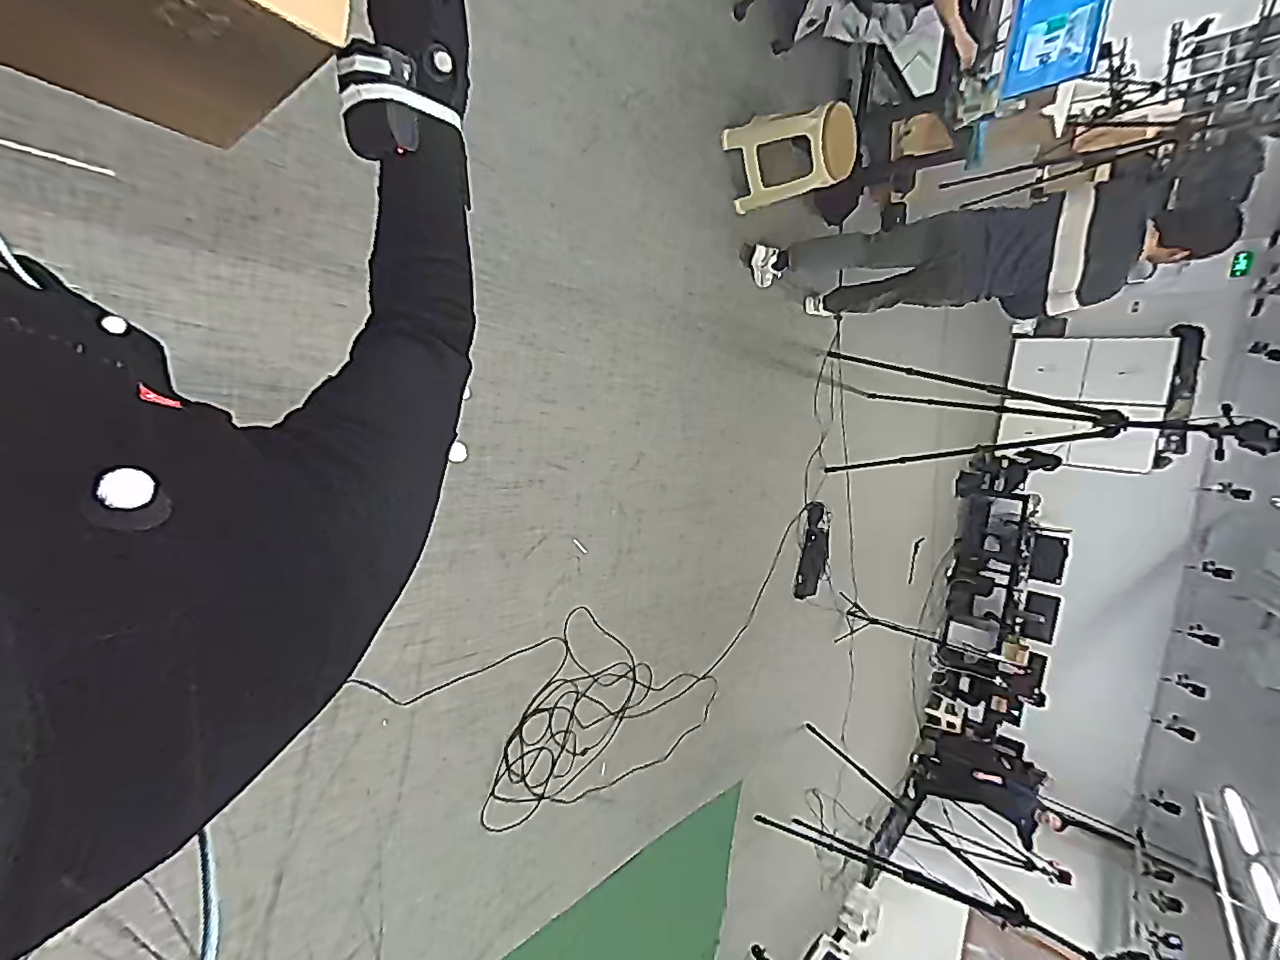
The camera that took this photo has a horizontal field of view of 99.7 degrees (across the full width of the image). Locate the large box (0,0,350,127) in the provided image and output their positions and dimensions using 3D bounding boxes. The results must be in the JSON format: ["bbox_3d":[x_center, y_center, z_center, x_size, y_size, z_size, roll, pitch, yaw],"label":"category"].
[{"bbox_3d":[-0.420,-0.477,0.295,0.408,0.320,0.320,0,102,-49],"label":"large box"}]
